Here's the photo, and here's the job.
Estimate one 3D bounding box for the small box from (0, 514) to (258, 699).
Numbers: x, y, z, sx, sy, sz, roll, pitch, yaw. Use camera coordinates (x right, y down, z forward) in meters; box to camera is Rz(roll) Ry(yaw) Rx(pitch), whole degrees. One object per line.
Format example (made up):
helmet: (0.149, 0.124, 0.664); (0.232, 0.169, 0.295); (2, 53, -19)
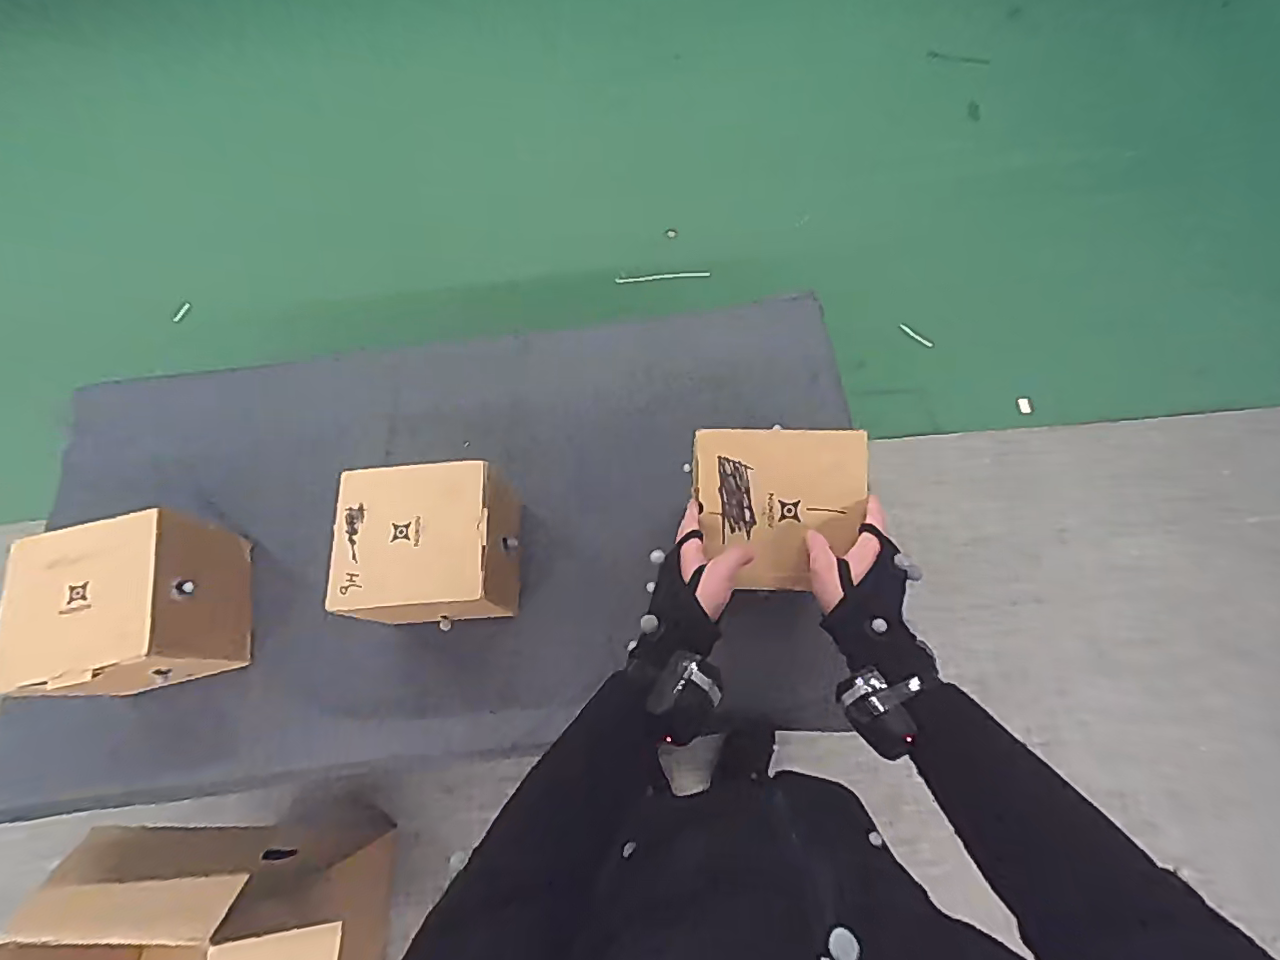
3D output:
small box: (-0.619, 0.165, 0.682); (0.168, 0.176, 0.179); (-14, 68, -5)

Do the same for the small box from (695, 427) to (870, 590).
small box: (0.153, 0.033, 0.633); (0.179, 0.176, 0.168); (0, 87, 4)

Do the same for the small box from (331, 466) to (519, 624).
small box: (-0.257, 0.091, 0.694); (0.179, 0.176, 0.168); (-4, 70, 0)
